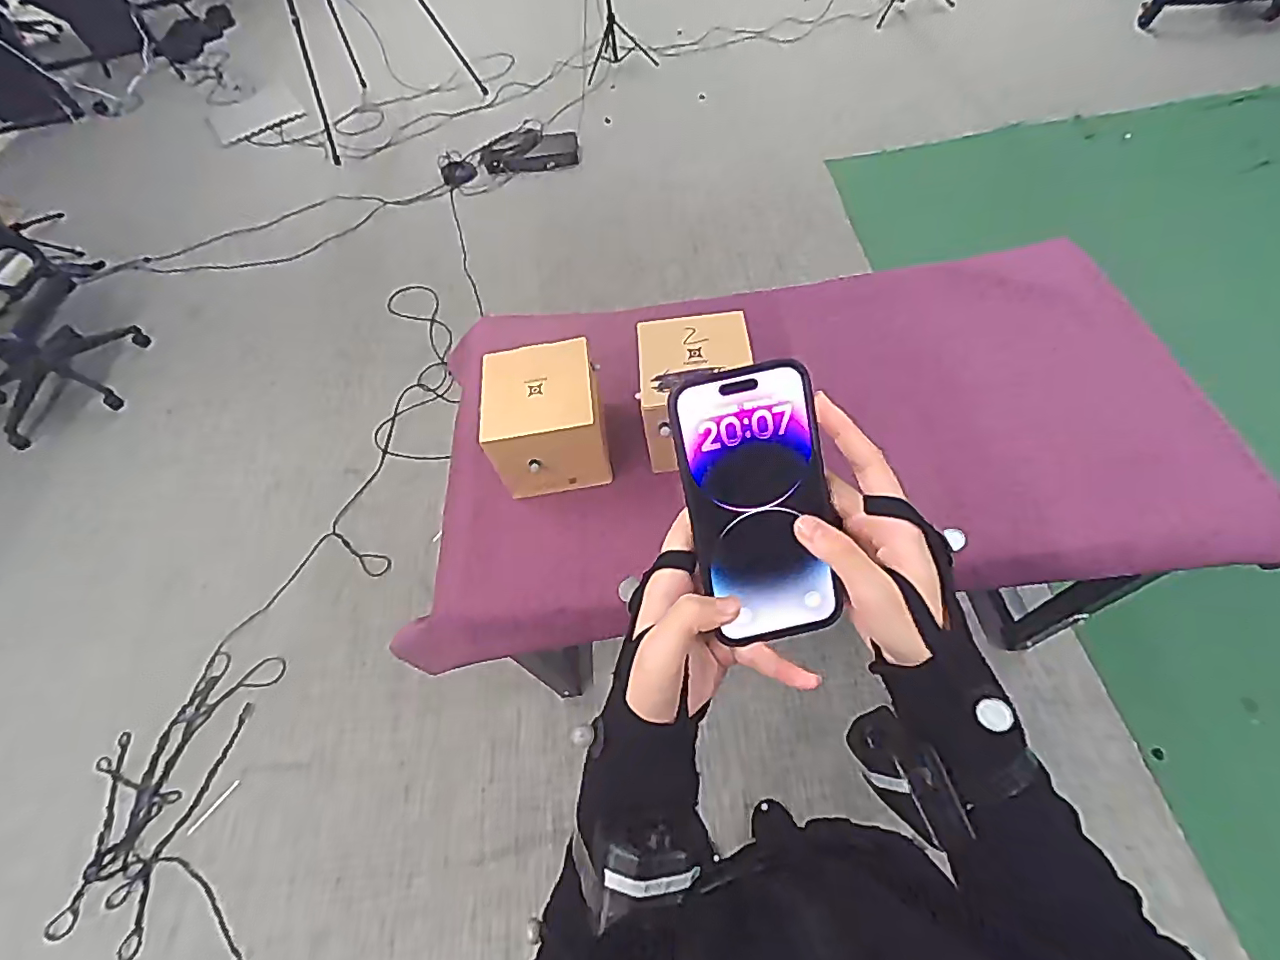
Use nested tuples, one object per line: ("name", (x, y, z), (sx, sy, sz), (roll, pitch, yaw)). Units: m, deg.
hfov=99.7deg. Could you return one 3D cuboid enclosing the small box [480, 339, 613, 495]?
("small box", (-0.142, -0.090, 0.863), (0.168, 0.176, 0.179), (-10, 56, 2))
